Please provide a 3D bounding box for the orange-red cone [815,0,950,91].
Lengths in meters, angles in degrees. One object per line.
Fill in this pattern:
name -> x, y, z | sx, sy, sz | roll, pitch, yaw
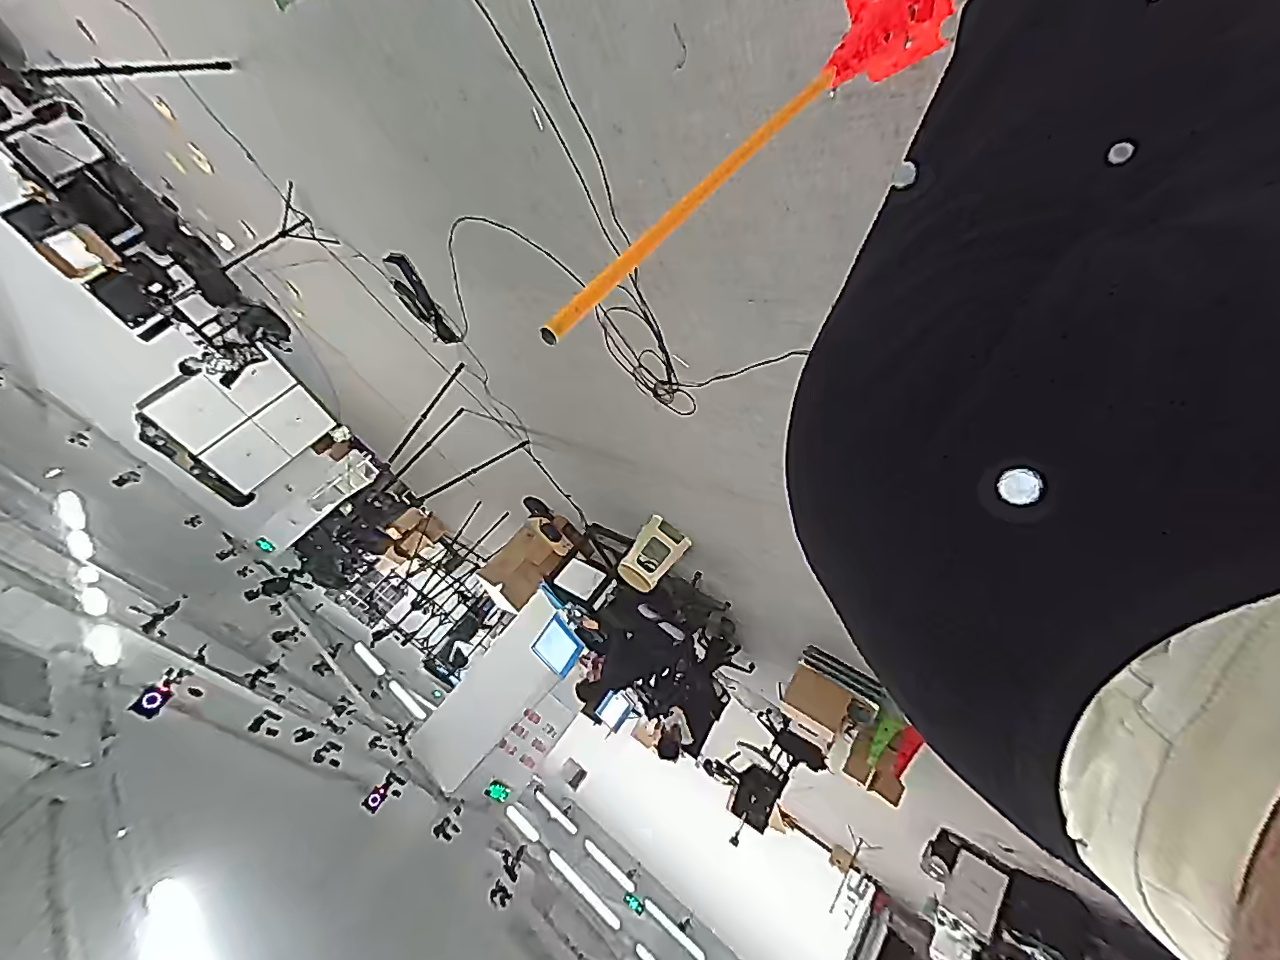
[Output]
orange-red cone -> 0.456, -0.886, 1.108 | 0.199, 0.360, 0.198 | 8, 140, 51
